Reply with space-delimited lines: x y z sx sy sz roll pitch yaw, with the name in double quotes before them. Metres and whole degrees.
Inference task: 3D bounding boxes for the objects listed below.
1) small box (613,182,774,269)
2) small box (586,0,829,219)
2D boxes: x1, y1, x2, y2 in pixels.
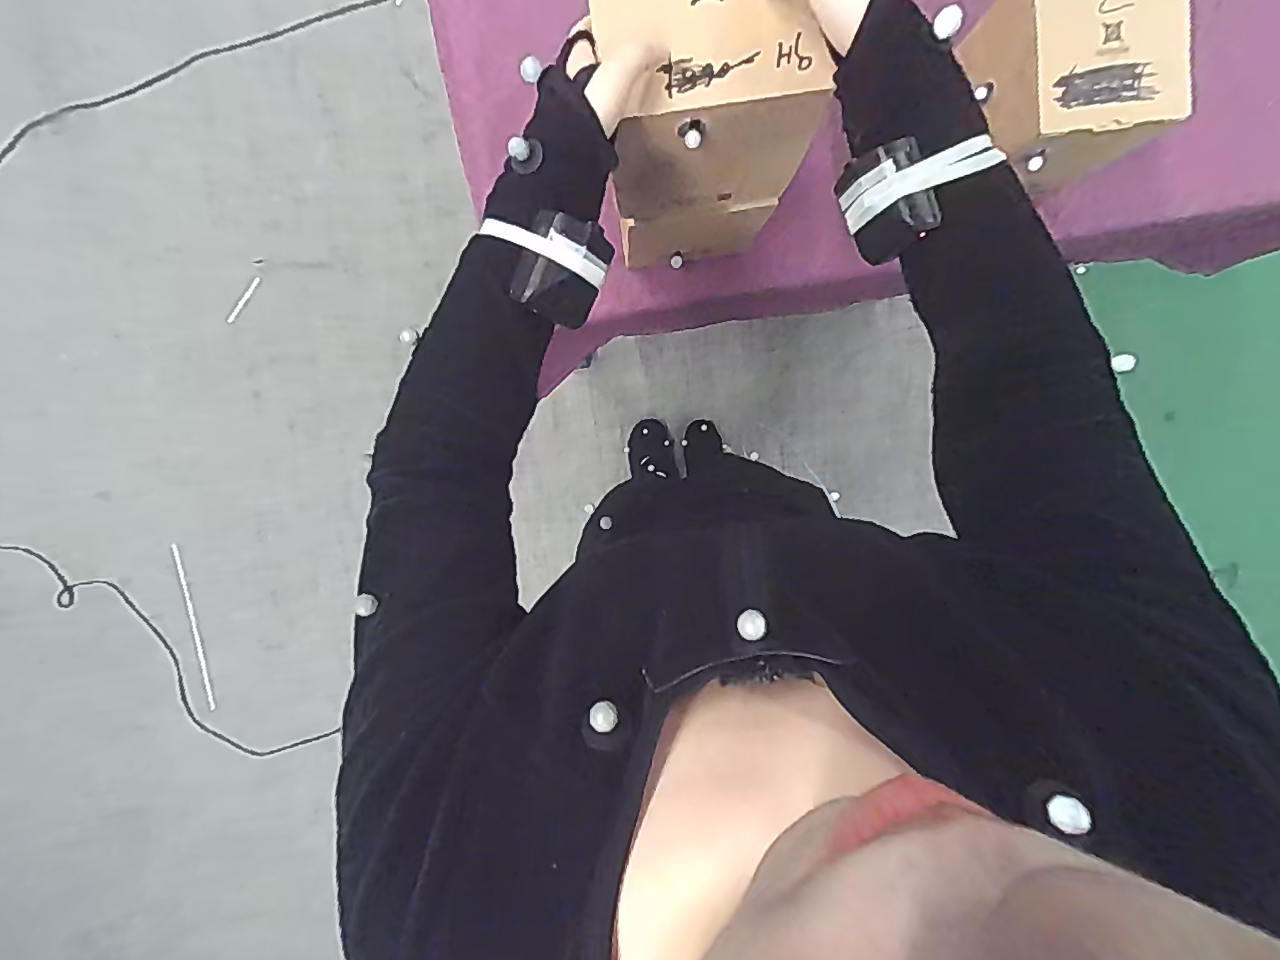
"small box" 0.051 -0.375 0.649 0.168 0.176 0.179 -8 97 0
"small box" 0.046 -0.351 0.455 0.168 0.176 0.179 -7 93 4
